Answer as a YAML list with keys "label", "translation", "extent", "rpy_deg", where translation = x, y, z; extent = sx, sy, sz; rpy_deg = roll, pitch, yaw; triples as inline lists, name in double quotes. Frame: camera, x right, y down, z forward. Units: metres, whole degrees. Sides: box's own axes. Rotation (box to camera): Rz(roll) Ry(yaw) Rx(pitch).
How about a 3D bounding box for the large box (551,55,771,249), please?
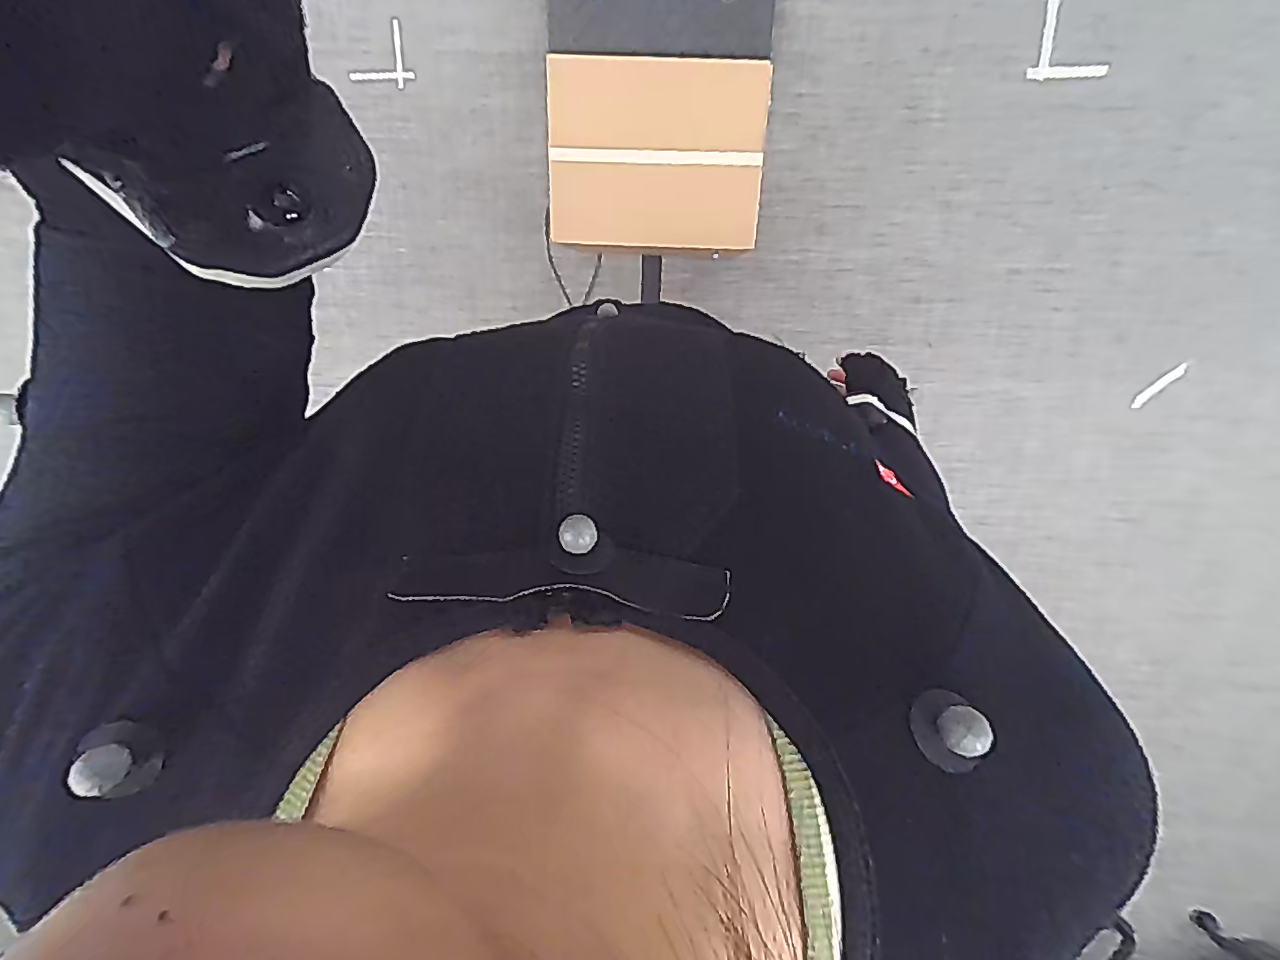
- label: "large box"
  translation: [0.042, -0.668, 1.160]
  extent: [0.408, 0.320, 0.320]
  rpy_deg: [2, 110, 1]

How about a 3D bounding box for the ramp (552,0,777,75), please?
- label: "ramp"
  translation: [0.055, -1.249, 1.058]
  extent: [0.509, 0.206, 0.991]
  rpy_deg: [0, 107, 1]
